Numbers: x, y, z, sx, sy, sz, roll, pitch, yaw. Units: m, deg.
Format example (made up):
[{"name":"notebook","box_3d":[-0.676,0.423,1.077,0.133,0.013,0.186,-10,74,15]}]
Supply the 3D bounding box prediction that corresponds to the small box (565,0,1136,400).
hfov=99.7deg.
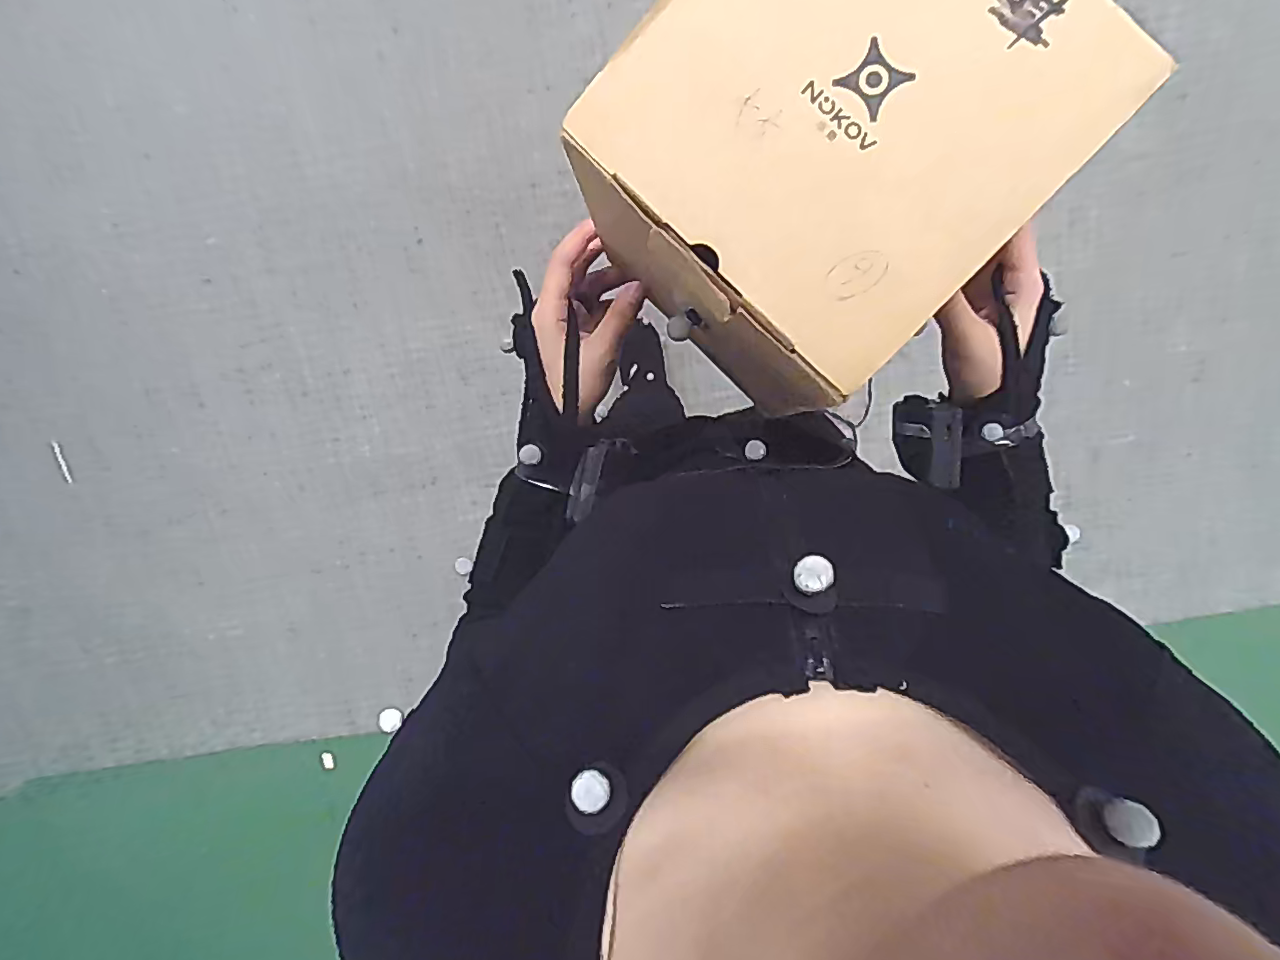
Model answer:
[{"name":"small box","box_3d":[0.089,-0.161,0.304,0.168,0.176,0.179,43,96,0]}]
